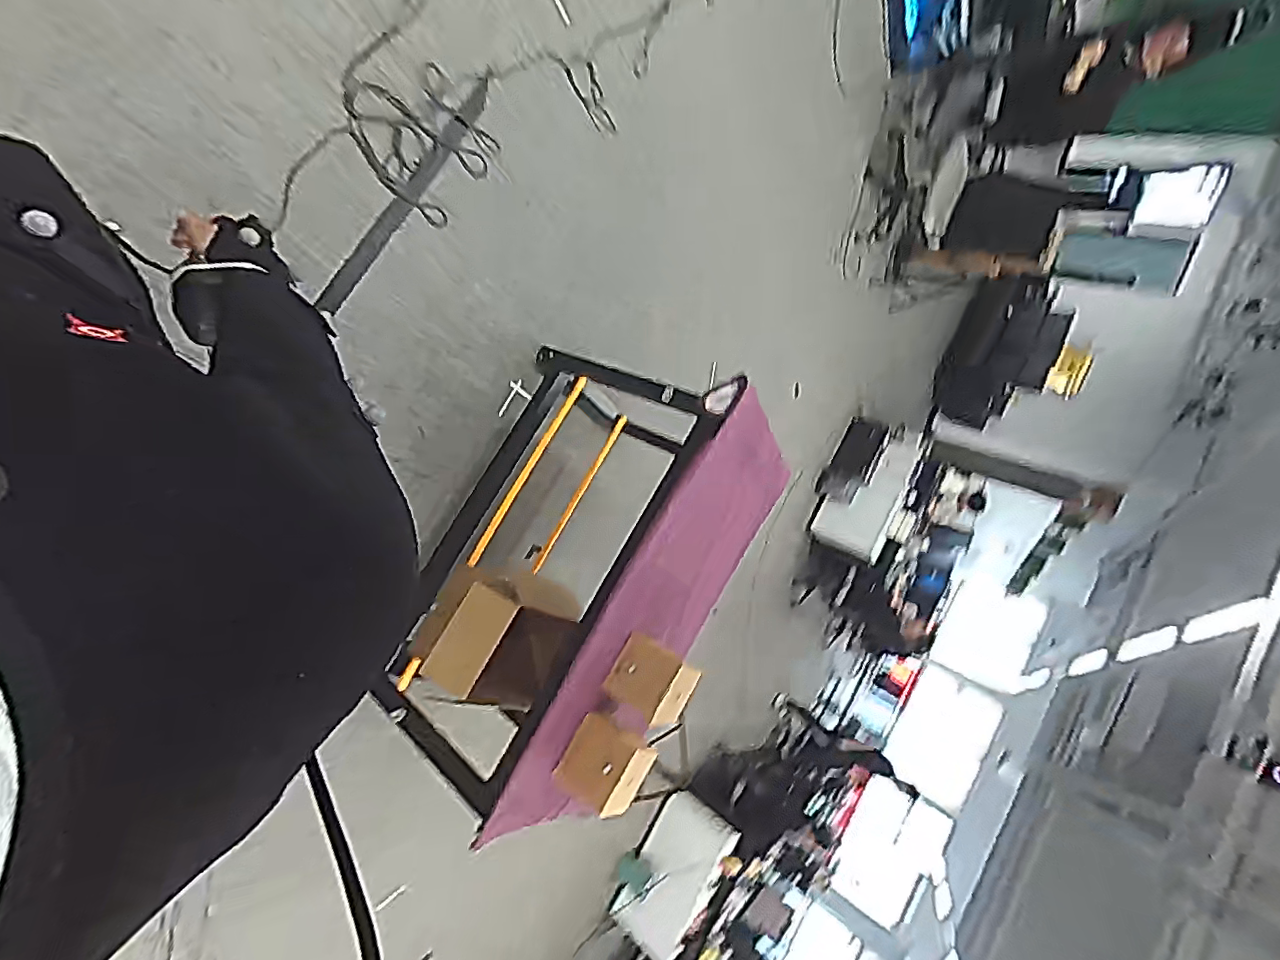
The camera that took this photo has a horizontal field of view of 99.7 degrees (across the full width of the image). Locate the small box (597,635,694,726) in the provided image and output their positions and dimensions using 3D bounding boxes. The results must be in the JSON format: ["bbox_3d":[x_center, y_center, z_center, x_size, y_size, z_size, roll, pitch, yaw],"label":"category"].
[{"bbox_3d":[0.016,0.539,1.460,0.168,0.176,0.179,-59,147,-11],"label":"small box"}]

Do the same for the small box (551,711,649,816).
[{"bbox_3d":[-0.110,0.740,1.416,0.179,0.176,0.168,-57,148,-13],"label":"small box"}]
